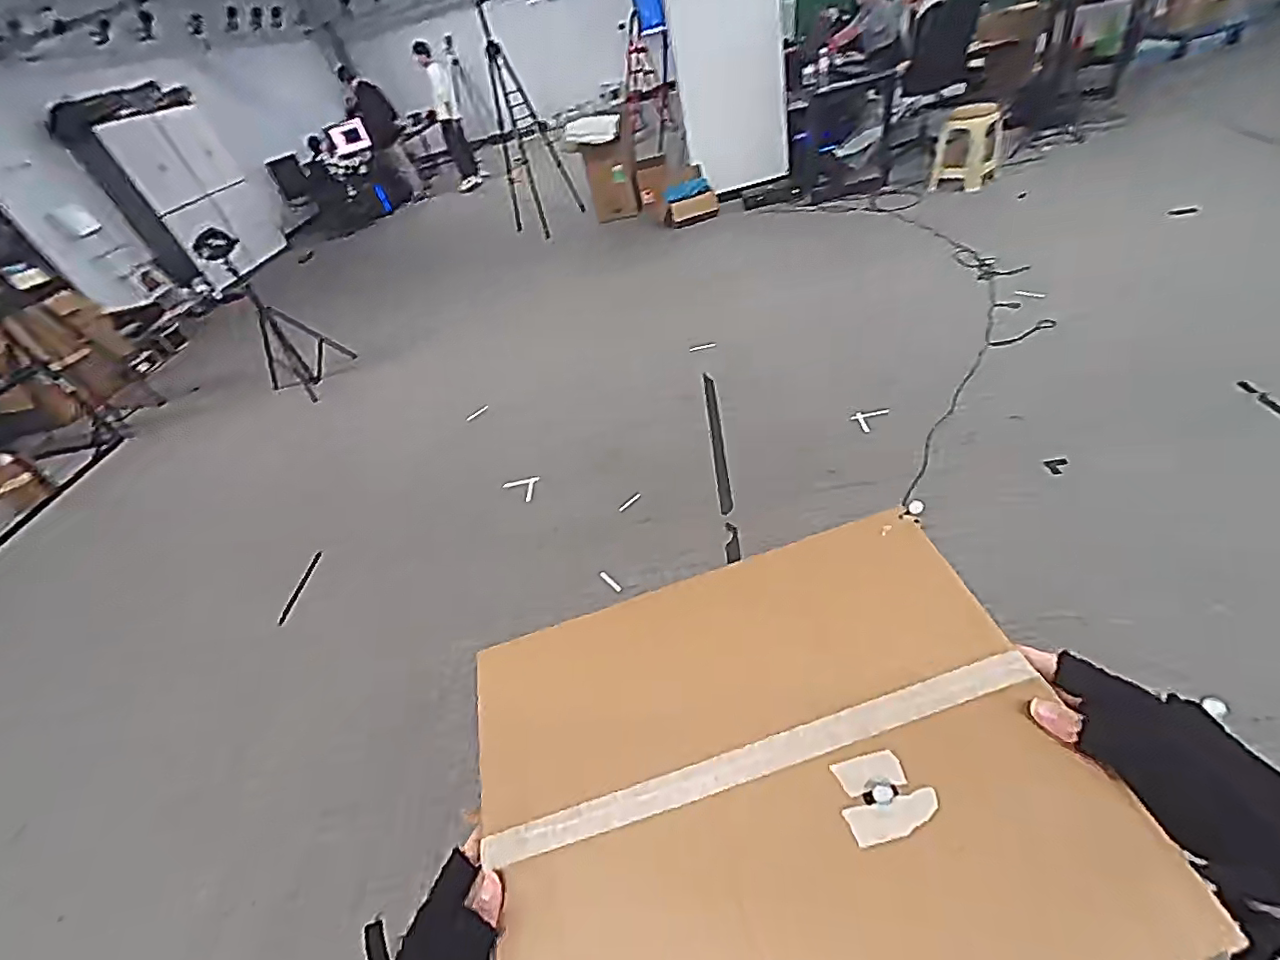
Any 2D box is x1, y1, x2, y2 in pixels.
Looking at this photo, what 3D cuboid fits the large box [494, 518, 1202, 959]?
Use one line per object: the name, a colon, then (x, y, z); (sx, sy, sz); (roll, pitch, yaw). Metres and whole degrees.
large box: (0.120, 0.300, 0.504); (0.408, 0.320, 0.320); (-19, 48, -1)
